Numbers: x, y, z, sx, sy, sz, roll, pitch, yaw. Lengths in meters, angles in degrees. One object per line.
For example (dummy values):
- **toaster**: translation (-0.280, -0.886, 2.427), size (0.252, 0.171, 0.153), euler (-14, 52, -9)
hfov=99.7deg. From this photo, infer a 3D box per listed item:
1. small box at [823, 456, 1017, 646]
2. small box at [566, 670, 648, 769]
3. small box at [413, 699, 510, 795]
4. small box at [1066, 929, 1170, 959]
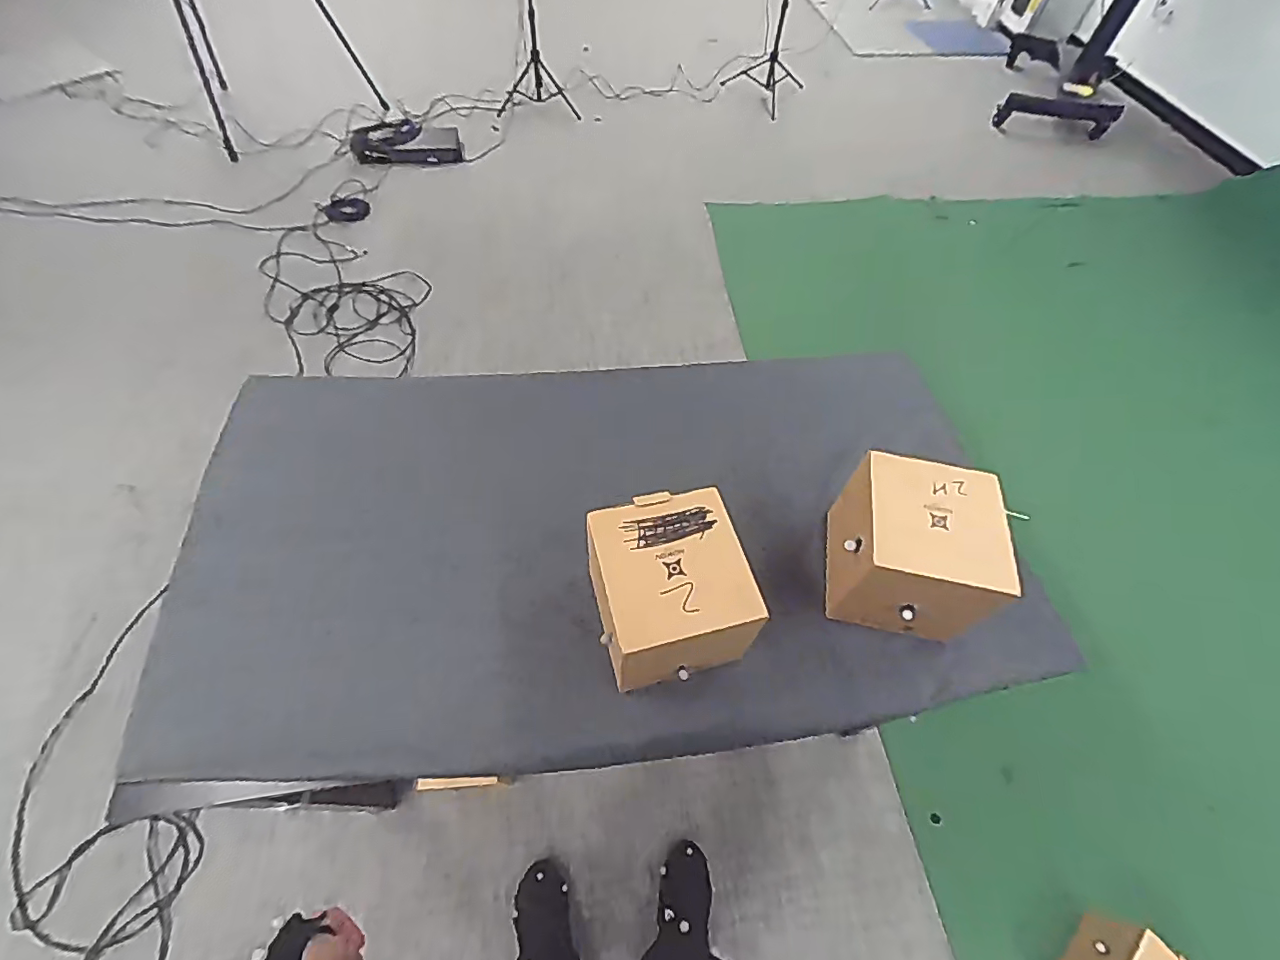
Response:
- **small box**: translation (0.351, 0.099, 0.713), size (0.168, 0.176, 0.179), euler (12, 55, 4)
- **small box**: translation (-0.078, 0.564, 1.260), size (0.168, 0.176, 0.179), euler (-7, 57, -9)
- **small box**: translation (-0.391, 0.605, 1.217), size (0.168, 0.176, 0.179), euler (-2, 57, -4)
- **small box**: translation (0.950, 1.014, 1.037), size (0.179, 0.176, 0.168), euler (-34, 65, -23)
